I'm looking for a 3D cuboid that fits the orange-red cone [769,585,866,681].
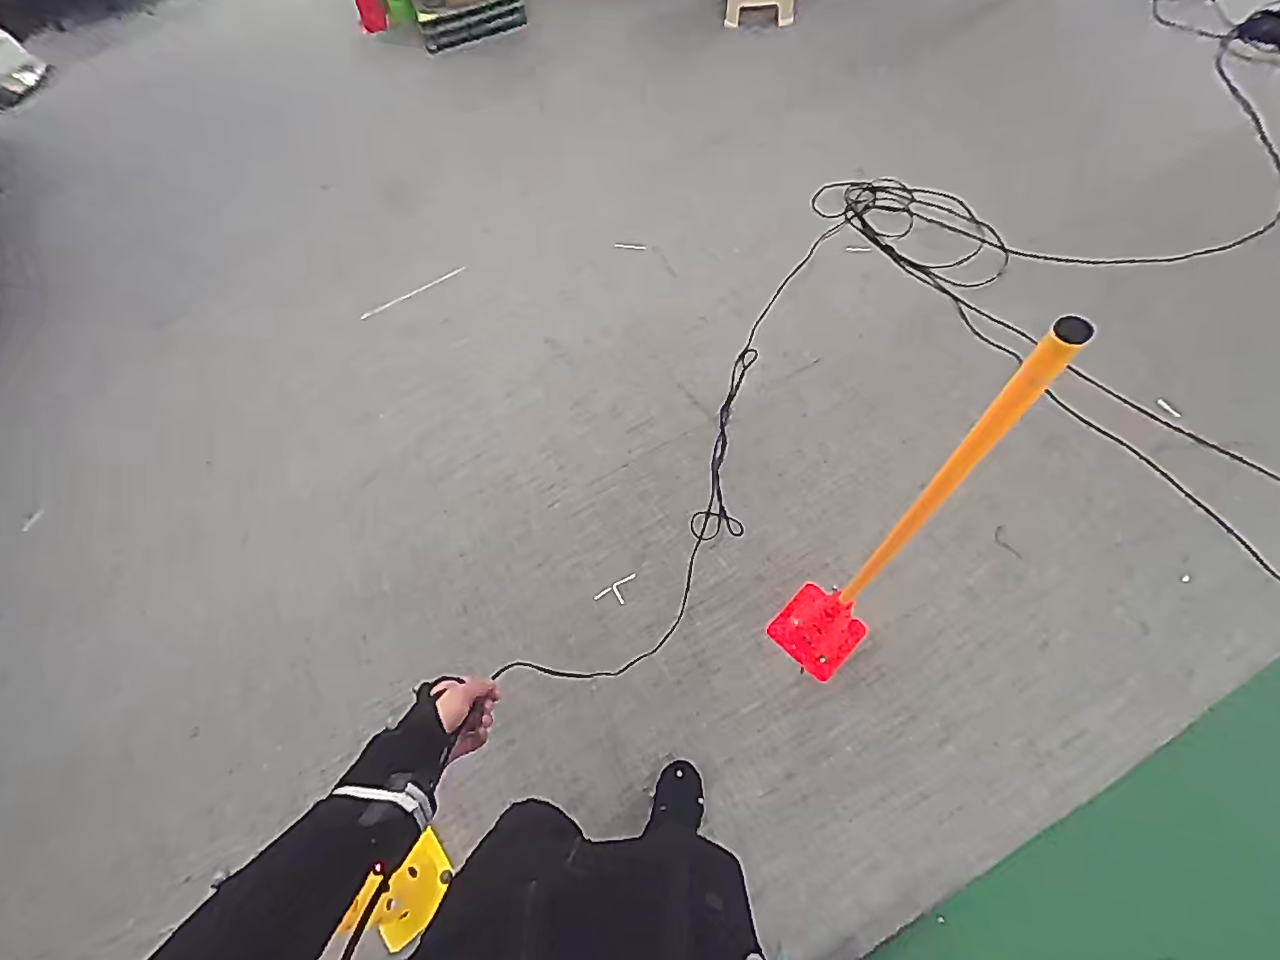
[{"bbox_3d":[0.456,0.327,1.292,0.199,0.360,0.198,-42,67,-15],"label":"orange-red cone"}]
